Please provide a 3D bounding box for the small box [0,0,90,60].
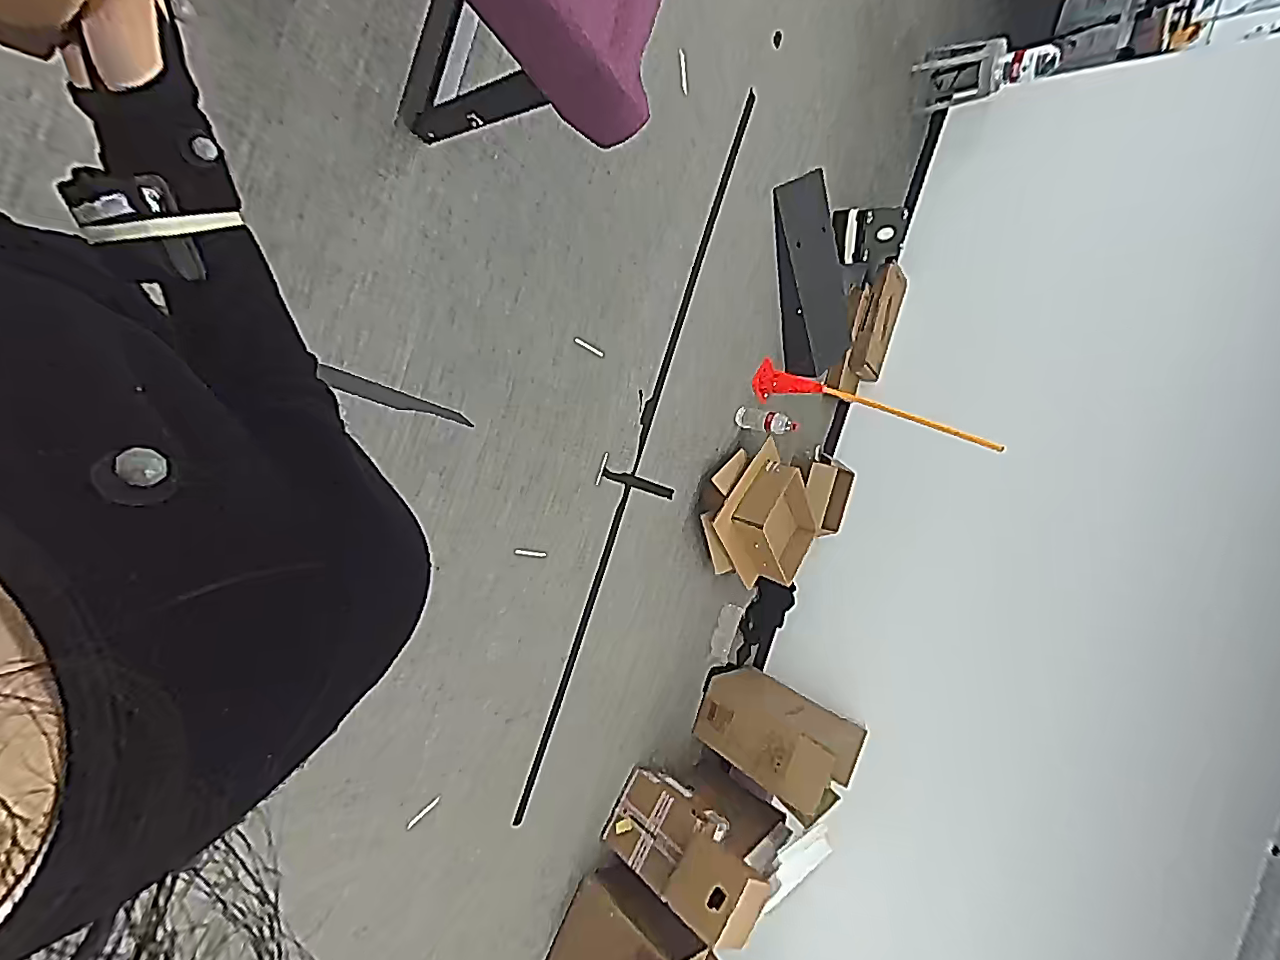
[{"bbox_3d":[-0.330,-0.314,0.207,0.168,0.176,0.179,-7,103,-53],"label":"small box"}]
